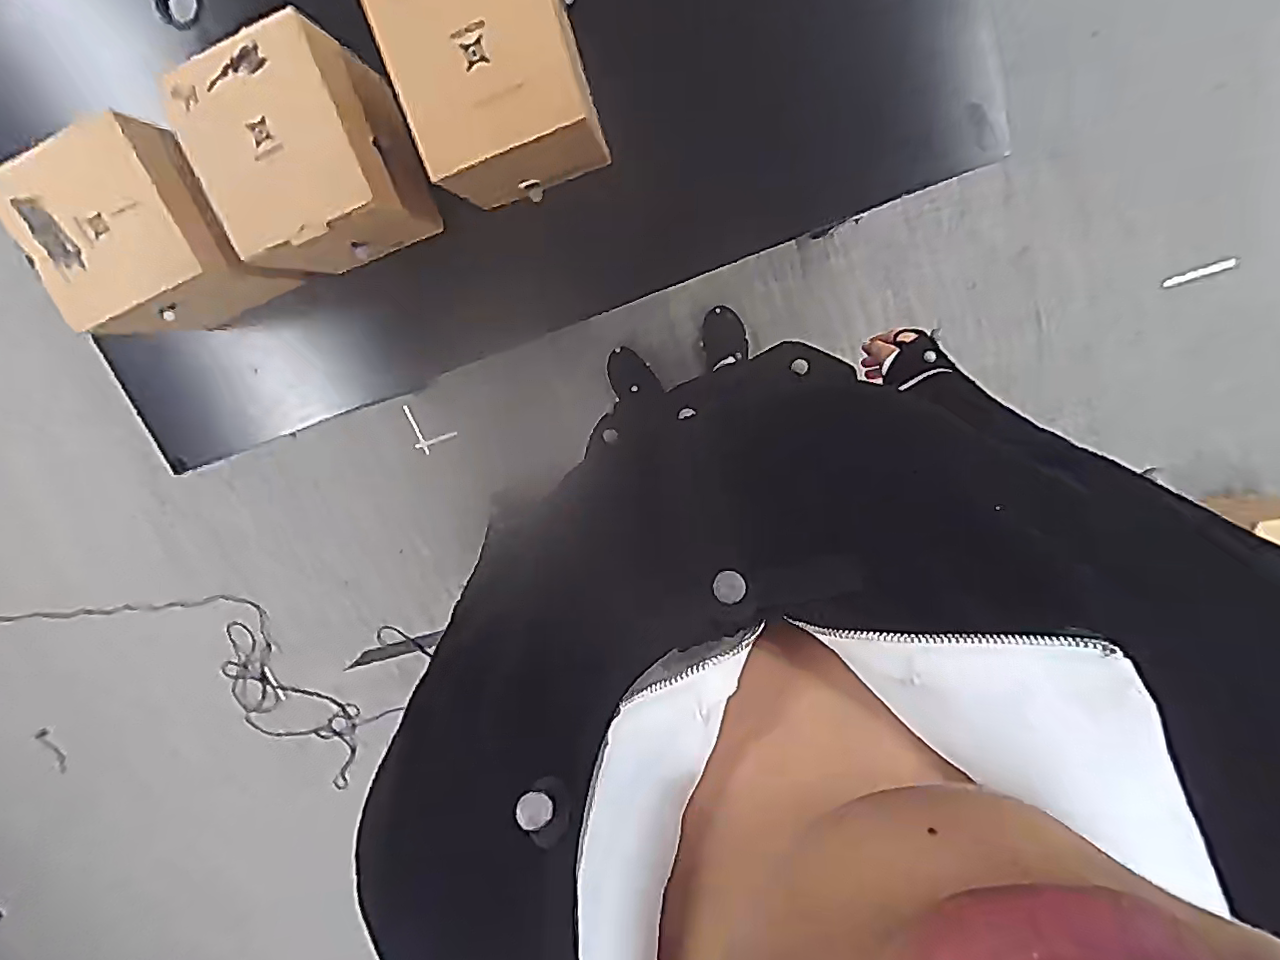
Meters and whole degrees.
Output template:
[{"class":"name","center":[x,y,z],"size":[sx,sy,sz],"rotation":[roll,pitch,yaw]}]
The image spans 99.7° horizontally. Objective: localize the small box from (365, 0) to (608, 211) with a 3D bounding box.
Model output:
[{"class":"small box","center":[-0.146,-0.417,0.578],"size":[0.168,0.176,0.179],"rotation":[-17,106,11]}]

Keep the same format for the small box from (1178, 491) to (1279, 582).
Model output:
[{"class":"small box","center":[1.537,0.141,1.377],"size":[0.168,0.176,0.179],"rotation":[-5,107,6]}]

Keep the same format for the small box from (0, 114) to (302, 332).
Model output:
[{"class":"small box","center":[-0.561,-0.285,0.646],"size":[0.179,0.176,0.168],"rotation":[-21,104,9]}]
